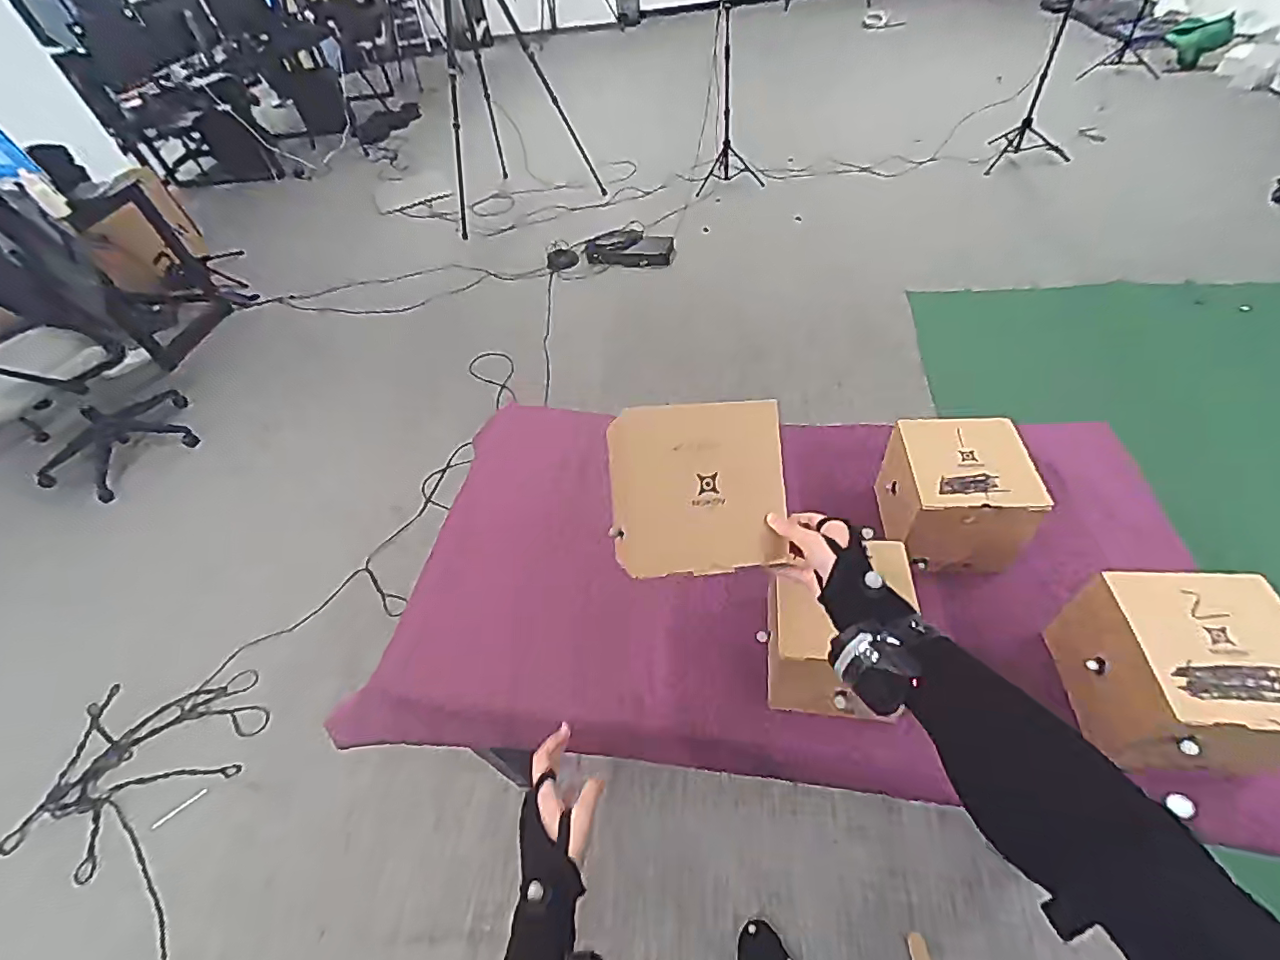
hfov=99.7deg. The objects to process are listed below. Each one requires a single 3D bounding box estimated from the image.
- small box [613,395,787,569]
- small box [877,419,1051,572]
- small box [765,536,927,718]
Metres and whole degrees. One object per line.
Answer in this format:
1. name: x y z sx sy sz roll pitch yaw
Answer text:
1. small box: 0.060 0.002 0.636 0.168 0.176 0.179 -3 88 -8
2. small box: 0.477 0.026 0.830 0.168 0.176 0.179 1 49 9
3. small box: 0.256 0.195 0.714 0.168 0.176 0.179 2 49 10
